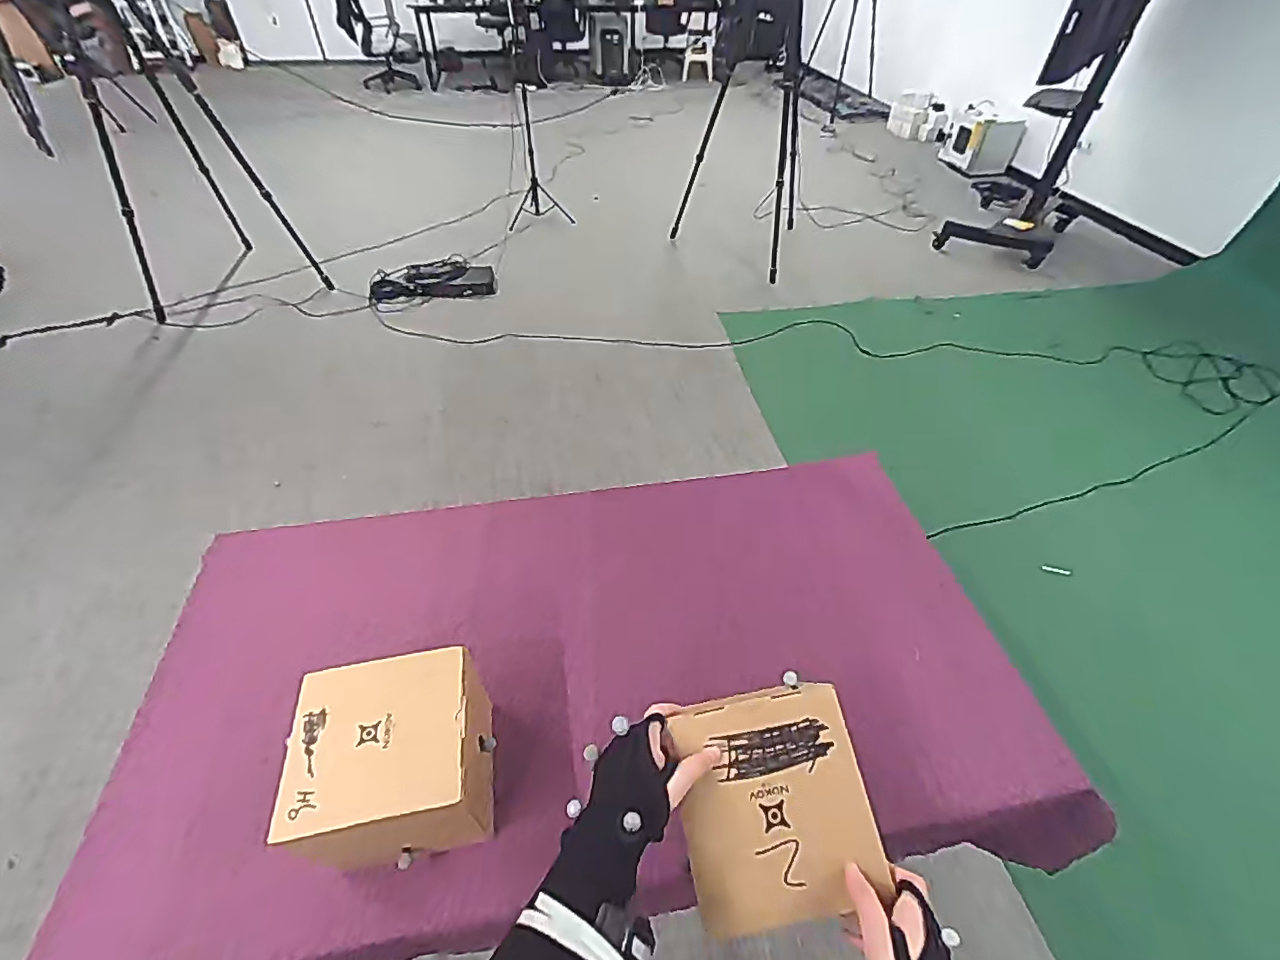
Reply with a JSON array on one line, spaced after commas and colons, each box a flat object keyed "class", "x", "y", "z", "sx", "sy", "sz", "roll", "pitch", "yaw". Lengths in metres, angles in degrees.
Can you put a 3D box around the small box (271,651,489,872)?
[{"class": "small box", "x": -0.270, "y": 0.320, "z": 0.615, "sx": 0.179, "sy": 0.176, "sz": 0.168, "roll": -8, "pitch": 47, "yaw": -10}]
